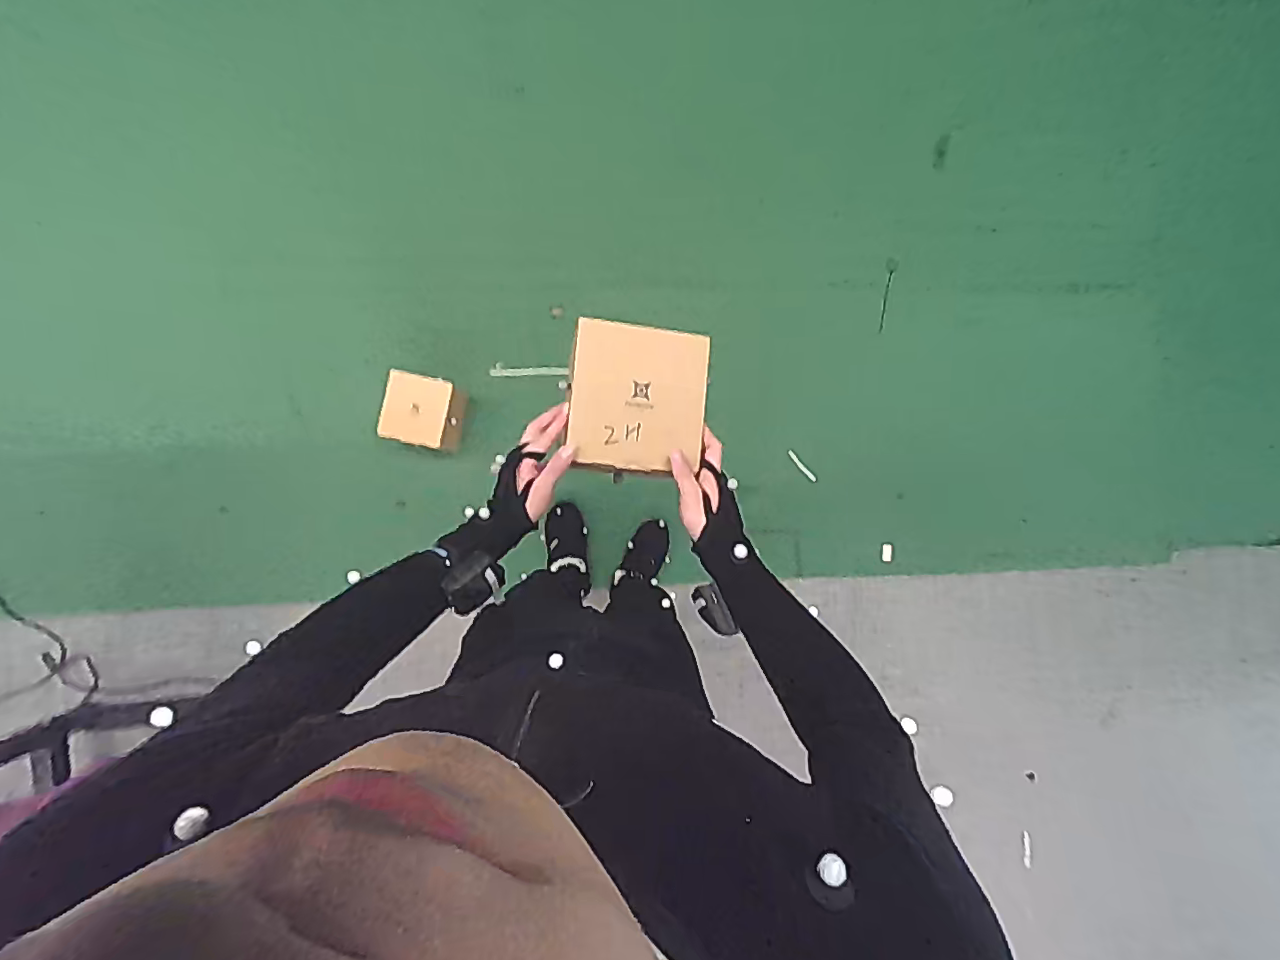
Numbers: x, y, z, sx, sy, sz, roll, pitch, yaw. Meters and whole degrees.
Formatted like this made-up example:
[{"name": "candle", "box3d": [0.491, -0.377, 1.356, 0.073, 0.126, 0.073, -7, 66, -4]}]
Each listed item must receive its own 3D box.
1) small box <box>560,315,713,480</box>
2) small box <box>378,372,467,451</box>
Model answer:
[{"name": "small box", "box3d": [-0.014, -0.097, 0.722, 0.168, 0.176, 0.179, 7, 88, -10]}, {"name": "small box", "box3d": [-0.589, -0.181, 1.489, 0.168, 0.176, 0.179, 12, 92, -3]}]
